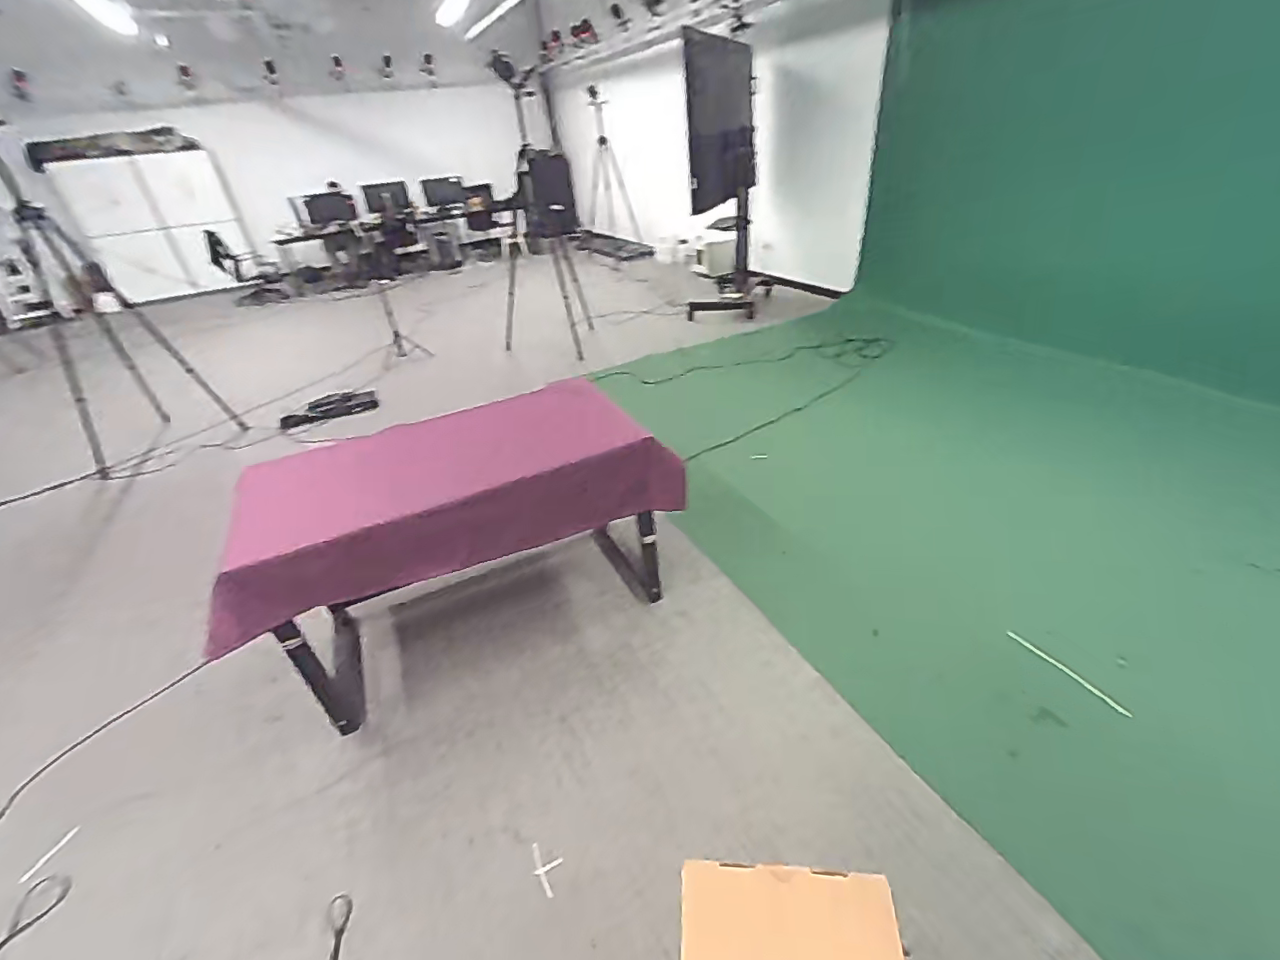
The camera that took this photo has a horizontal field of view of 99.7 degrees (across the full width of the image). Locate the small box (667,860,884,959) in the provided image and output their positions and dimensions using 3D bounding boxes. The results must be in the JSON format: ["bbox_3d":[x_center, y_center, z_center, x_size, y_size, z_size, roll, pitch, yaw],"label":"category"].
[{"bbox_3d":[0.108,0.442,0.448,0.168,0.176,0.179,-1,44,7],"label":"small box"}]
